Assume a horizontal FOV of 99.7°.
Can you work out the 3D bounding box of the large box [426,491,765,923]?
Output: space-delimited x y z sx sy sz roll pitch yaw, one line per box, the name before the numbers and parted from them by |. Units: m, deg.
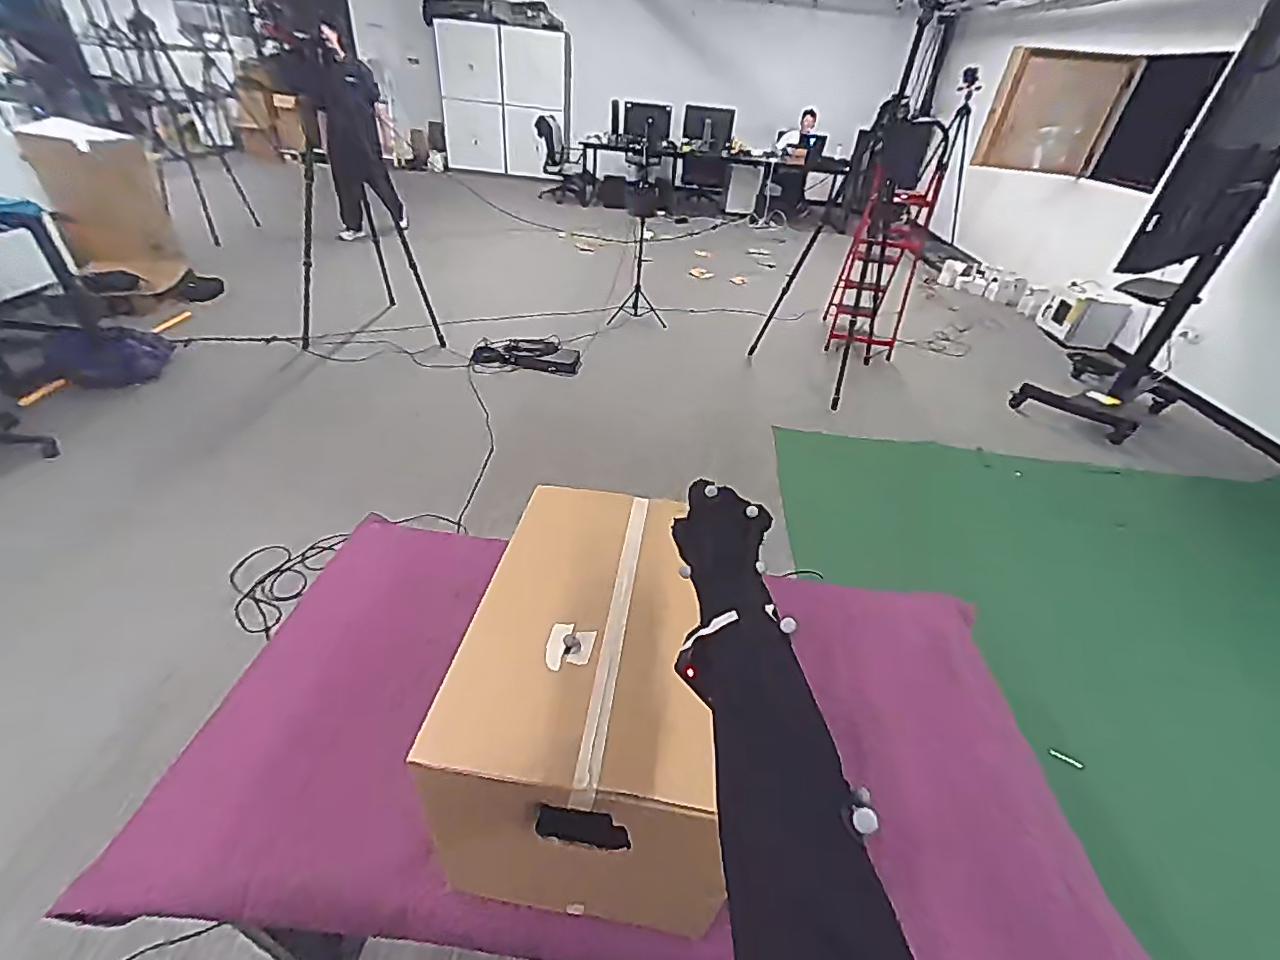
large box | -0.035 0.273 0.719 0.320 0.320 0.408 9 37 3
